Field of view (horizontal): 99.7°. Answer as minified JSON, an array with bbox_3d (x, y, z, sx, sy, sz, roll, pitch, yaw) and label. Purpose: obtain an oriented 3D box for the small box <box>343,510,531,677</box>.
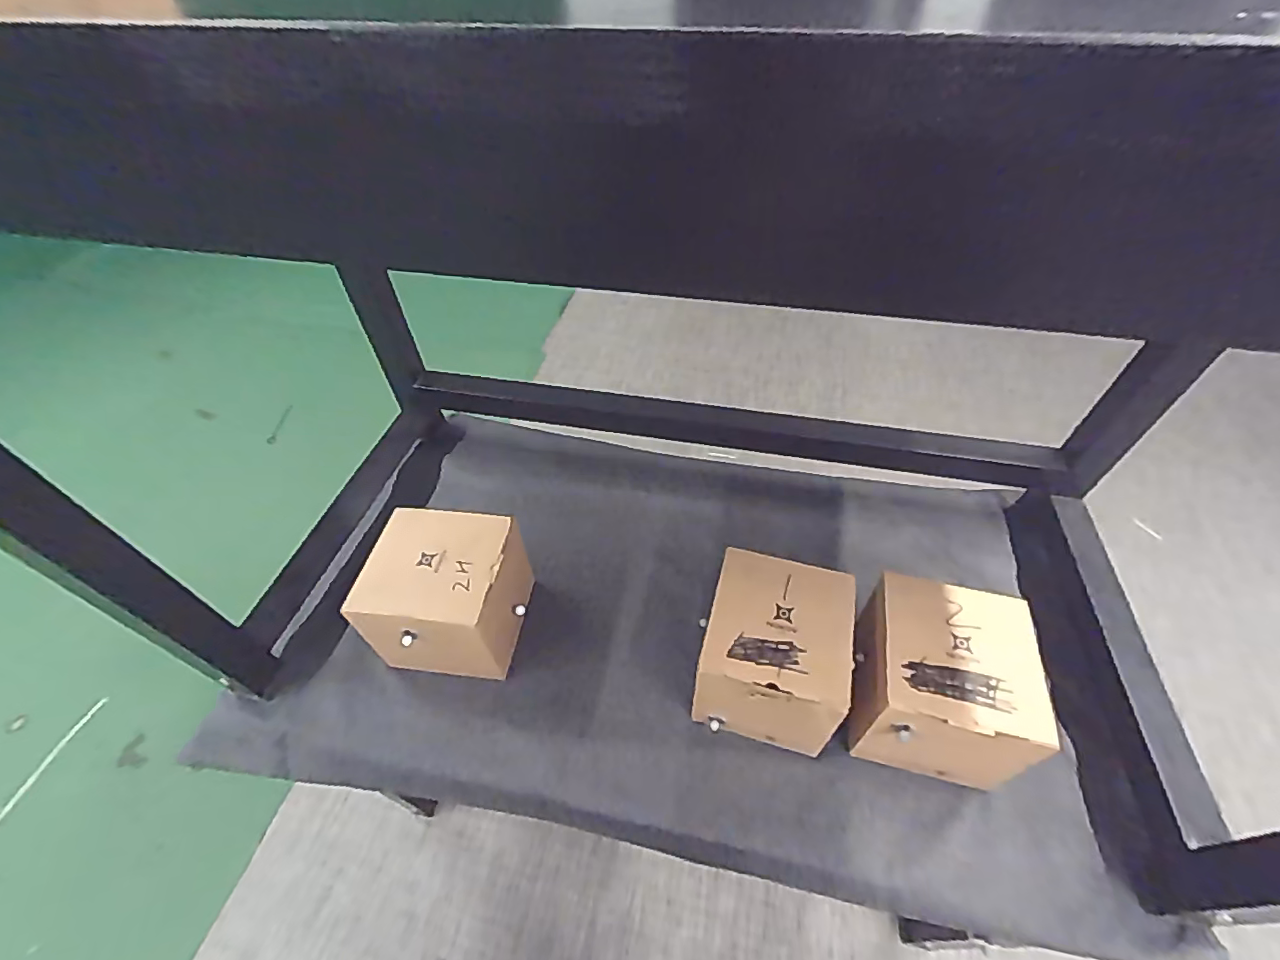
[{"bbox_3d":[-0.270,0.163,0.767,0.179,0.176,0.168,5,49,6],"label":"small box"}]
